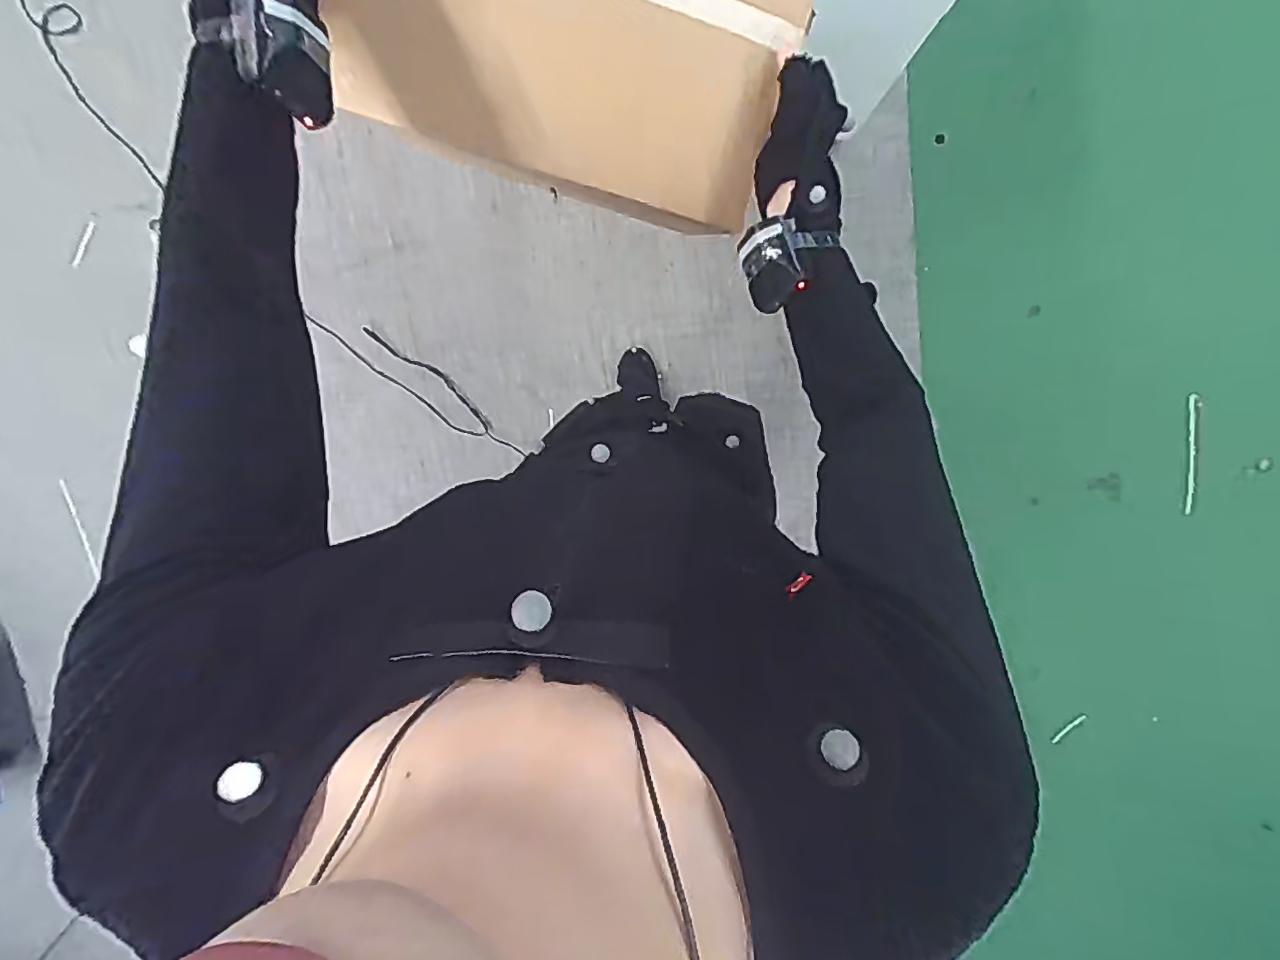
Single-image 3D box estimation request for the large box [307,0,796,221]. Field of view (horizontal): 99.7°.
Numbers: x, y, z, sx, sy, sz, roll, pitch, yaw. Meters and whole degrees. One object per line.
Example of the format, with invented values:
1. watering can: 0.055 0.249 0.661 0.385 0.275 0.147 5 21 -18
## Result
1. large box: -0.068 -0.495 0.582 0.408 0.320 0.320 14 112 -9
